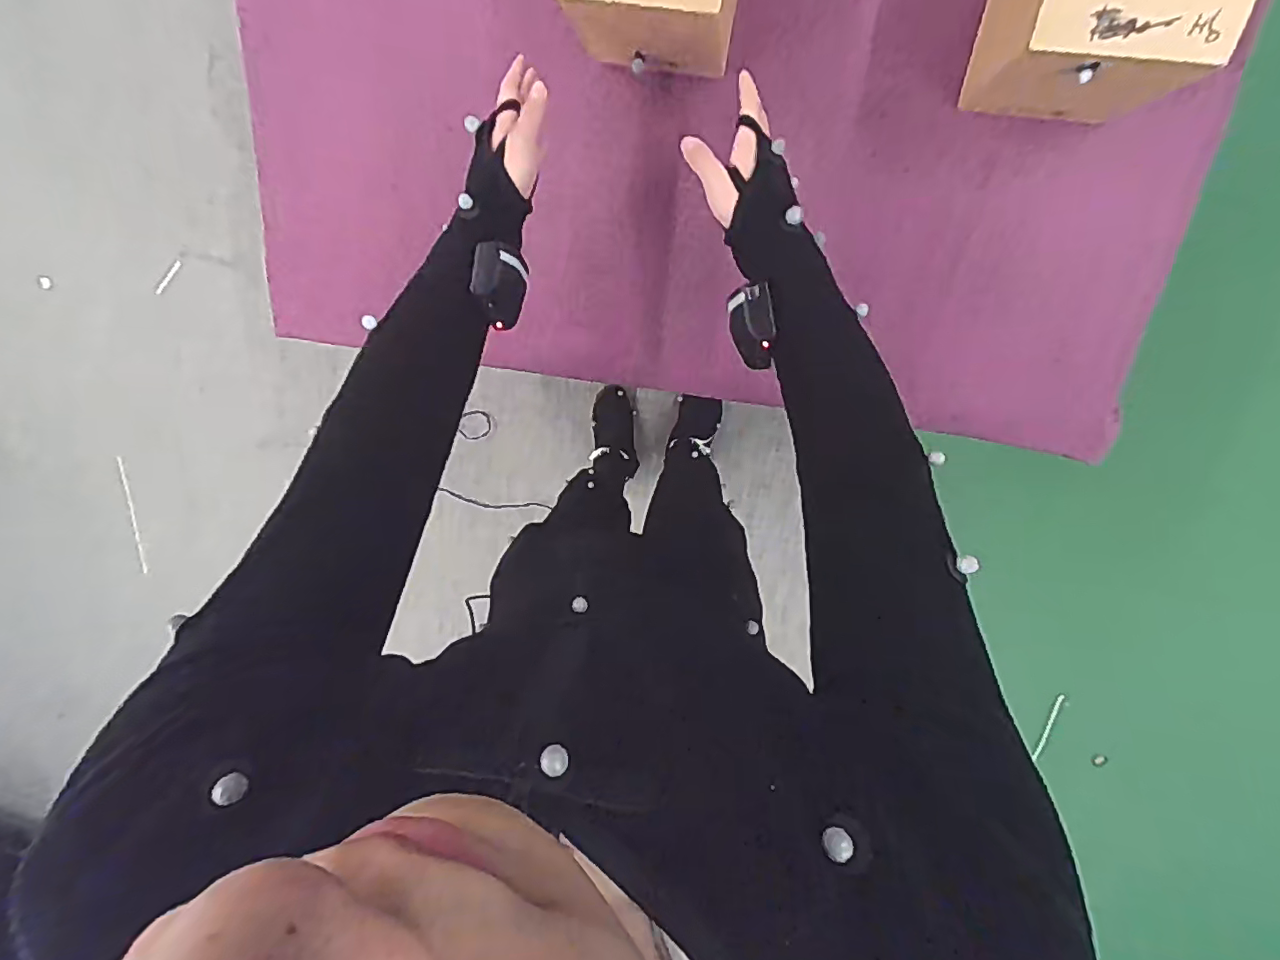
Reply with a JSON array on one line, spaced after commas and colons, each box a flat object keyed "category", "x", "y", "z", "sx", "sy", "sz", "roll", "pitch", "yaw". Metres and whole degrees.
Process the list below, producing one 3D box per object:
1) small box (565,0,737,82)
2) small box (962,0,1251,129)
[{"category": "small box", "x": 0.022, "y": -0.559, "z": 0.566, "sx": 0.168, "sy": 0.176, "sz": 0.179, "roll": 12, "pitch": 110, "yaw": 6}, {"category": "small box", "x": 0.448, "y": -0.474, "z": 0.524, "sx": 0.168, "sy": 0.176, "sz": 0.179, "roll": 11, "pitch": 109, "yaw": 7}]
